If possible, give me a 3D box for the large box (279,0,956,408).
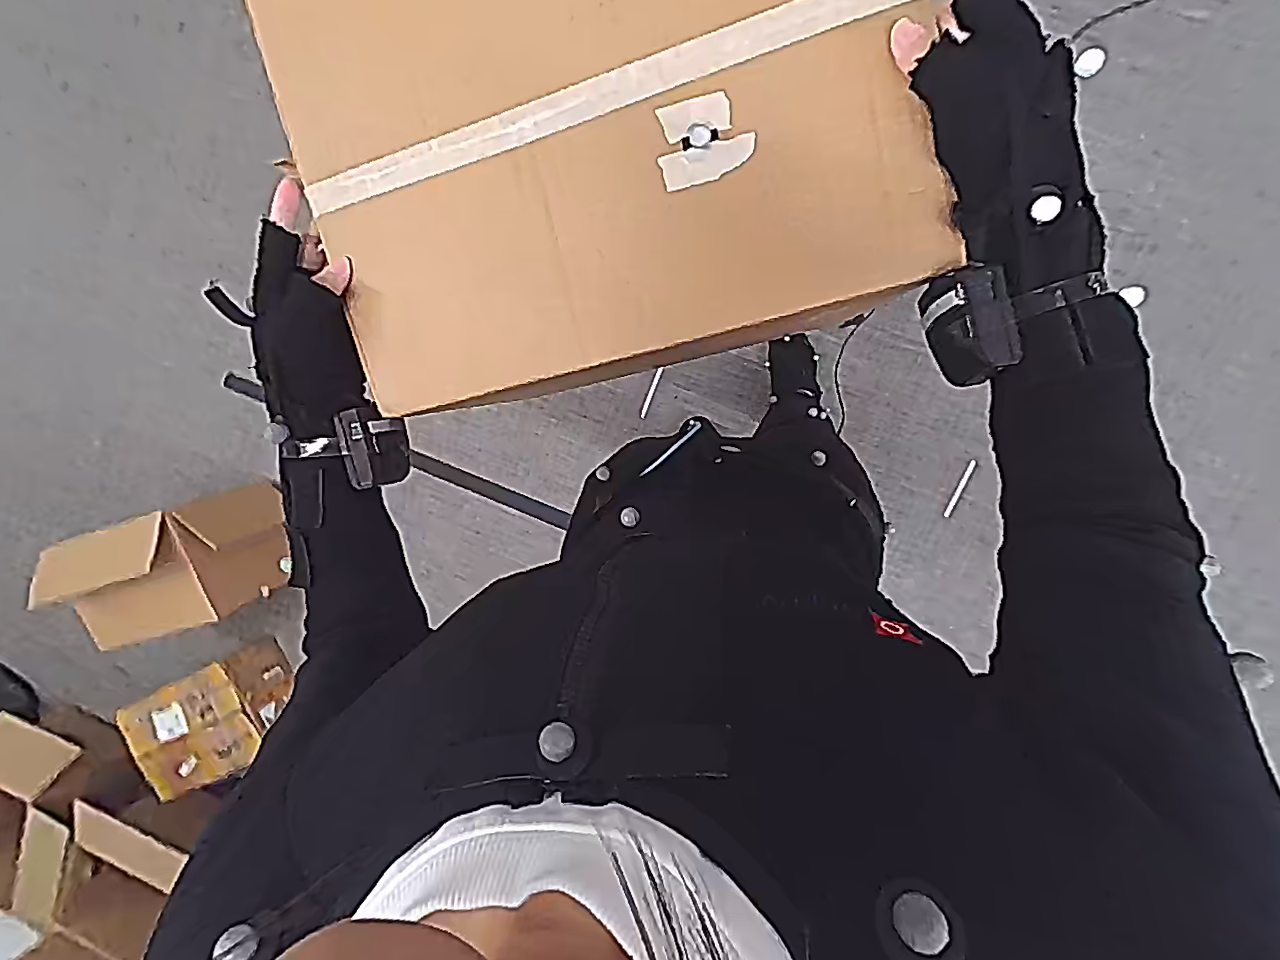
[{"bbox_3d":[-0.005,-0.269,0.498,0.408,0.320,0.320,-12,100,10],"label":"large box"}]
